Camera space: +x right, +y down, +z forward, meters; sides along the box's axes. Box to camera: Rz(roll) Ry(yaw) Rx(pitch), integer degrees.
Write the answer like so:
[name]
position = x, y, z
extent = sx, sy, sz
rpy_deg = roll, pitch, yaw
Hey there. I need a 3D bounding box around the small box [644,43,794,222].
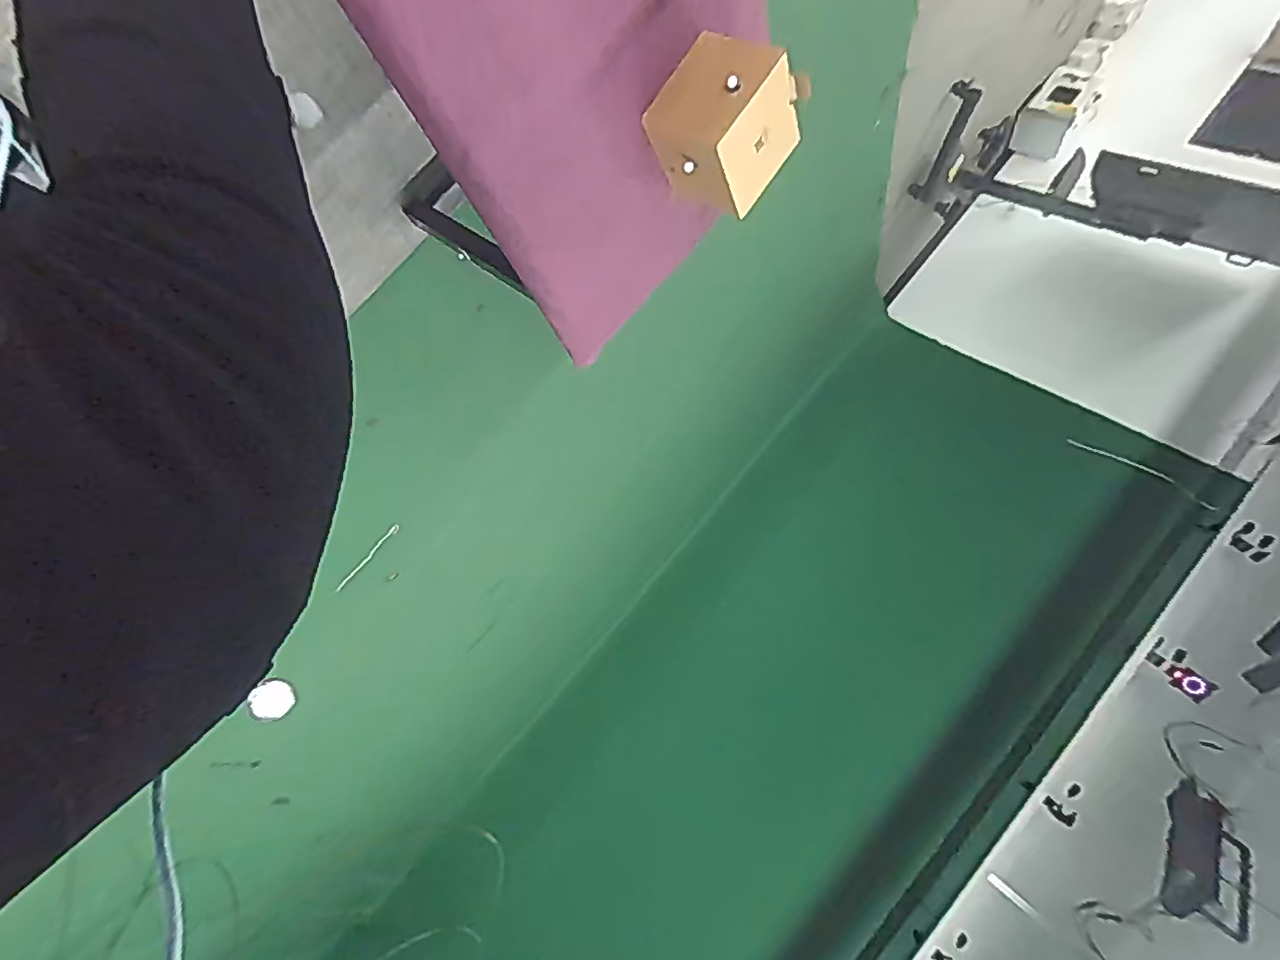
[small box]
position = 0.128, -0.582, 0.910
extent = 0.179, 0.176, 0.168
rpy_deg = -54, 153, 2
